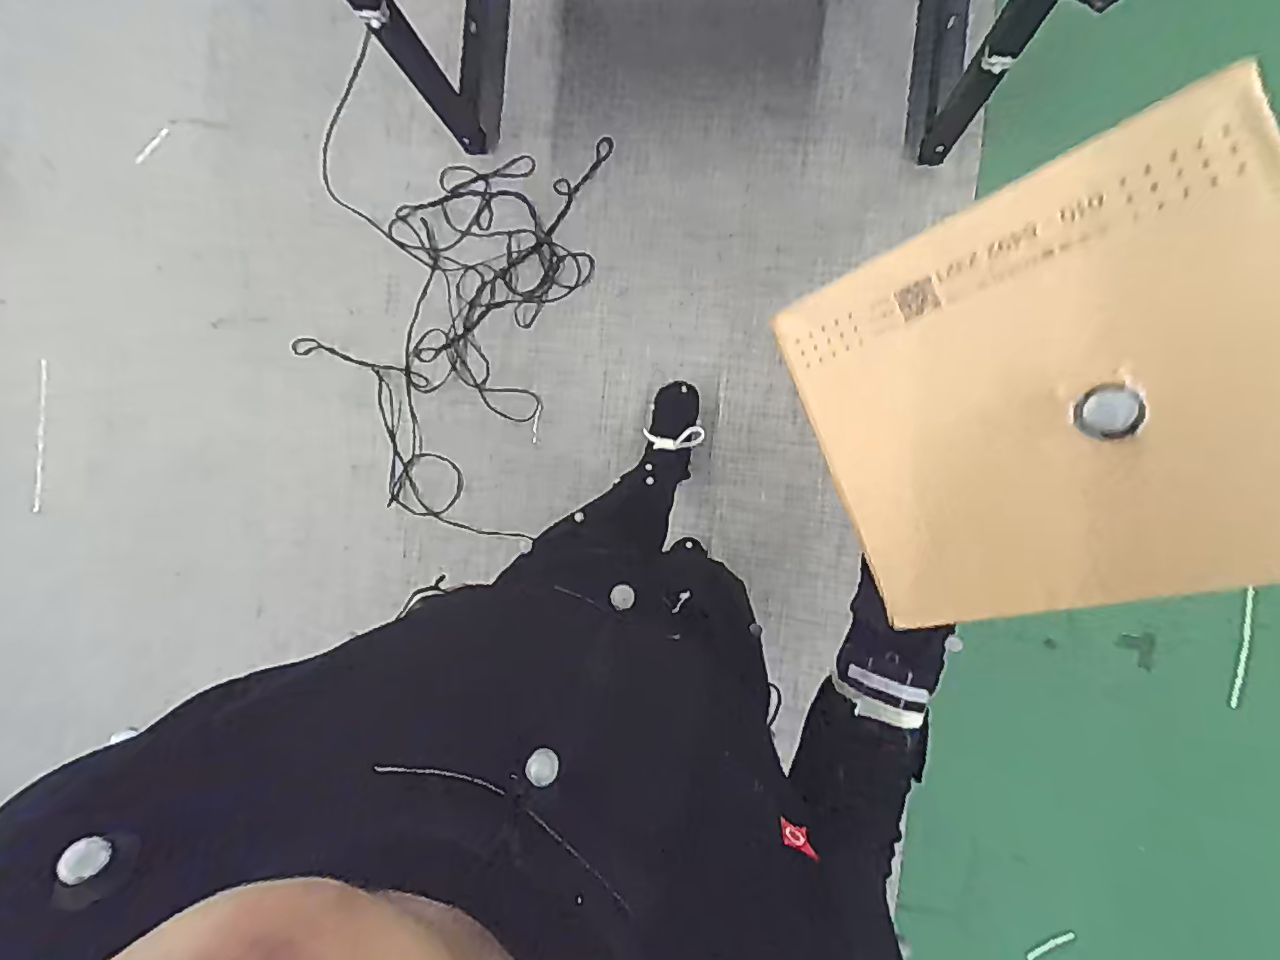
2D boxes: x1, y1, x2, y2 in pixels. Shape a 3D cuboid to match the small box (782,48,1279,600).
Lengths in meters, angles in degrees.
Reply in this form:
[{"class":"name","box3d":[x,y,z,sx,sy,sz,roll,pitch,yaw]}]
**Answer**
[{"class":"small box","box3d":[0.197,-0.064,0.277,0.168,0.179,0.176,-22,91,37]}]
